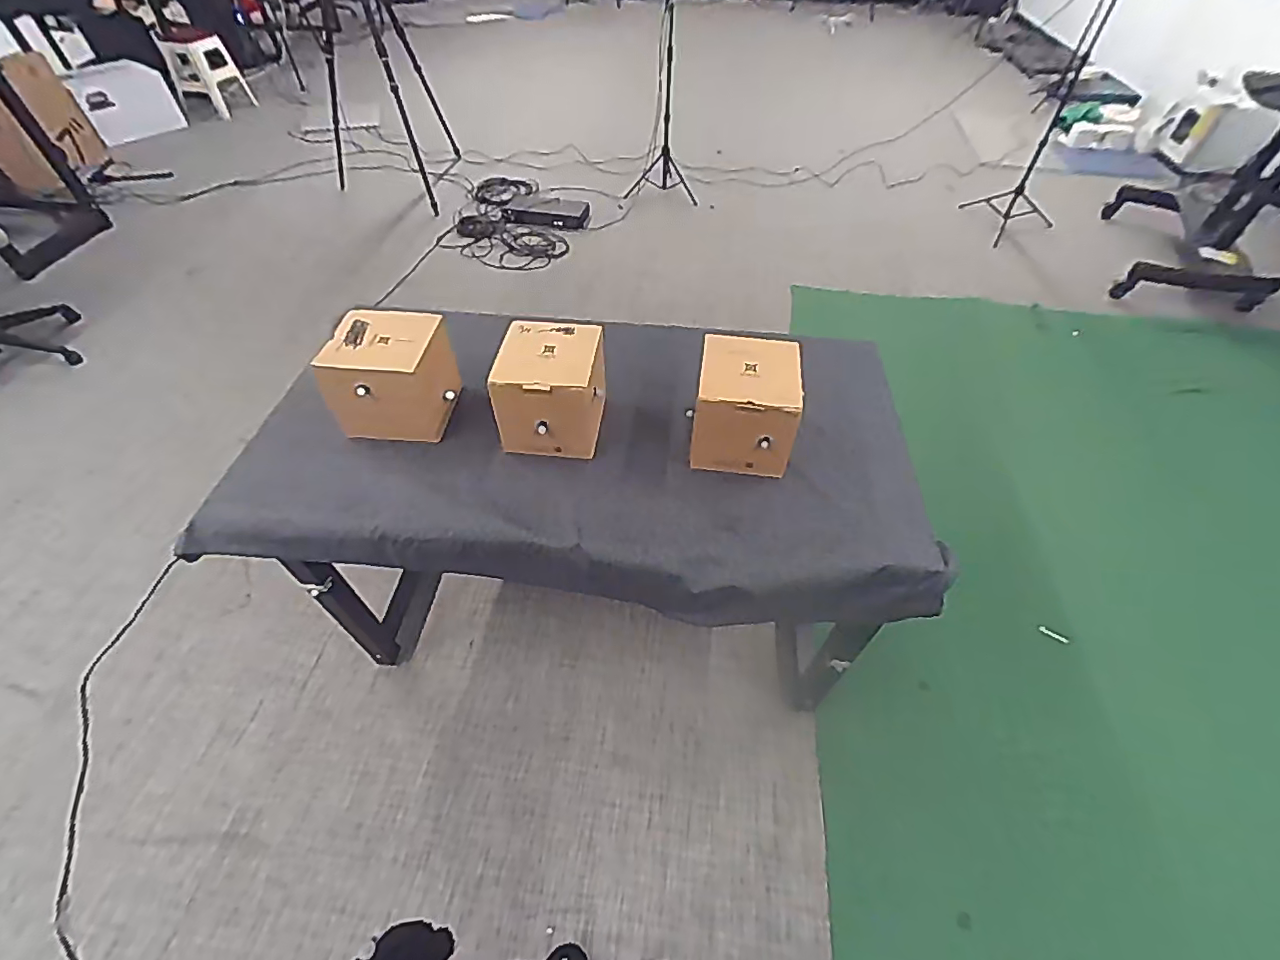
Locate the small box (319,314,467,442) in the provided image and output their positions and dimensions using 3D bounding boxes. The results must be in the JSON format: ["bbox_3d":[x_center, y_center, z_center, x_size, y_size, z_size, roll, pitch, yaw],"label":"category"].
[{"bbox_3d":[-0.442,-0.186,1.002,0.179,0.176,0.168,4,50,1],"label":"small box"}]

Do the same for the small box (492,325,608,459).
[{"bbox_3d":[-0.151,-0.157,0.984,0.168,0.176,0.179,5,51,3],"label":"small box"}]

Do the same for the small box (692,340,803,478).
[{"bbox_3d":[0.186,-0.123,0.961,0.168,0.176,0.179,7,49,4],"label":"small box"}]
